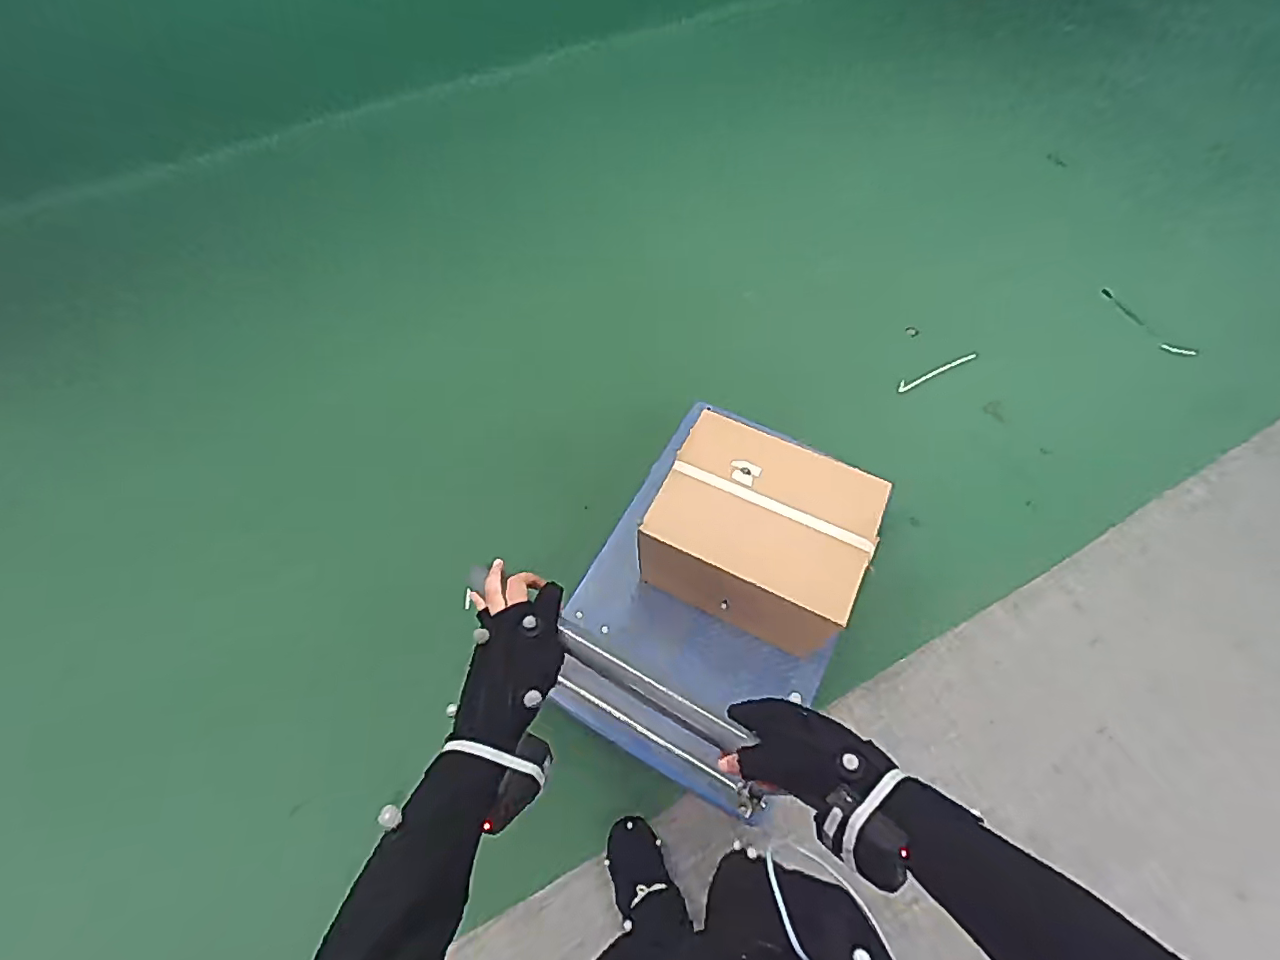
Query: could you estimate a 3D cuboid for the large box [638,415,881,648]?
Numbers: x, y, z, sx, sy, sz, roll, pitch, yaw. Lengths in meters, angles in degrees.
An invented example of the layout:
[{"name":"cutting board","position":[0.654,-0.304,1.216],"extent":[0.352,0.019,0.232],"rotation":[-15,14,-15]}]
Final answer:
[{"name":"large box","position":[0.244,0.120,1.186],"extent":[0.408,0.320,0.320],"rotation":[23,64,14]}]
